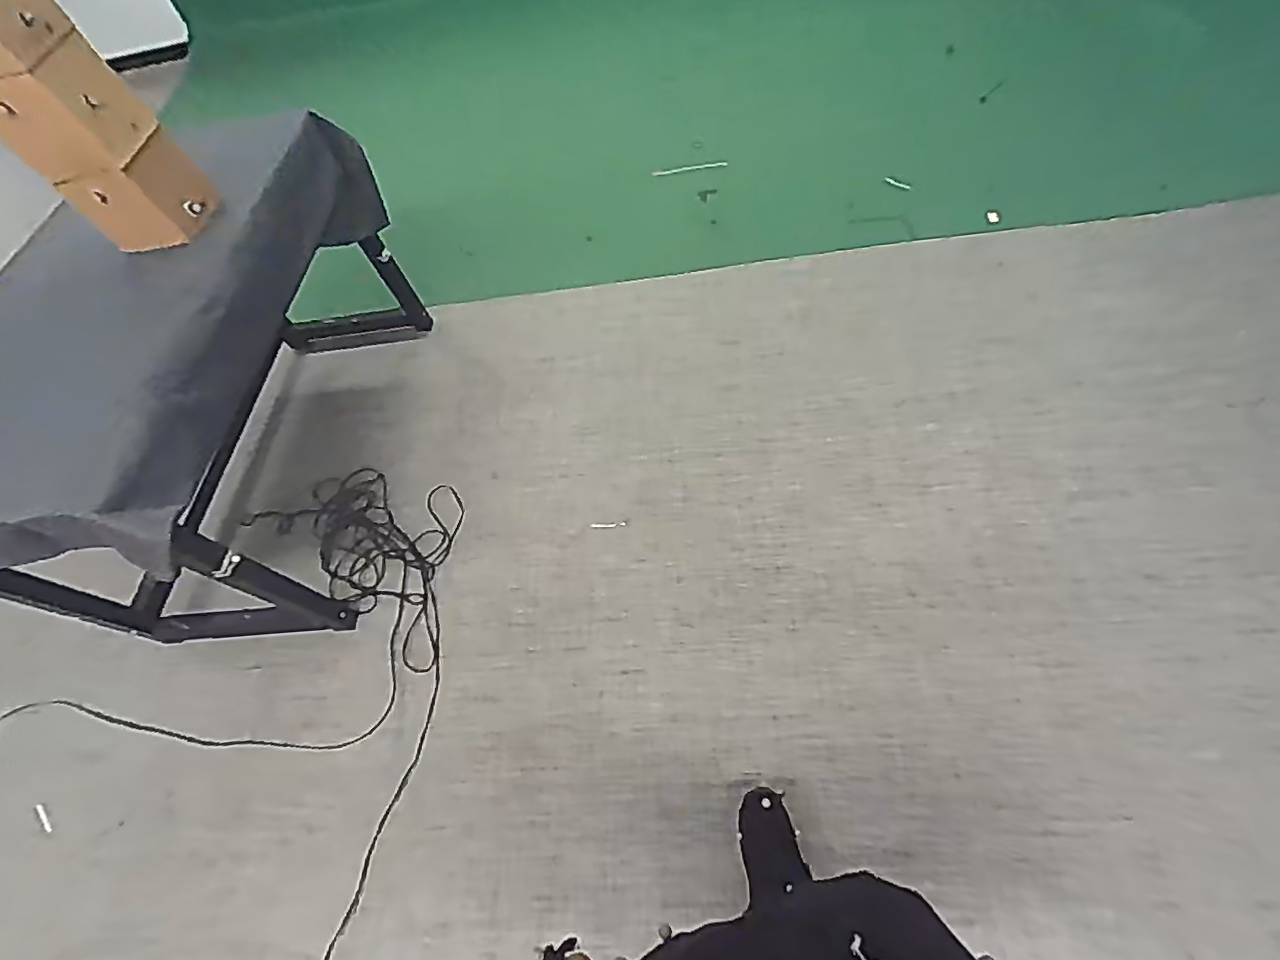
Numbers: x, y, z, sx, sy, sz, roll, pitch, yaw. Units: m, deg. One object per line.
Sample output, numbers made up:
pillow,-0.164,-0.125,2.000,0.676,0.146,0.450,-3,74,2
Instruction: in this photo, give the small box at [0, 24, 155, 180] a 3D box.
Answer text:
small box,-1.076,-0.696,1.008,0.179,0.176,0.168,-6,60,8

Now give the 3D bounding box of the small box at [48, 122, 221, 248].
small box,-1.059,-0.619,1.150,0.179,0.176,0.168,-4,61,7
